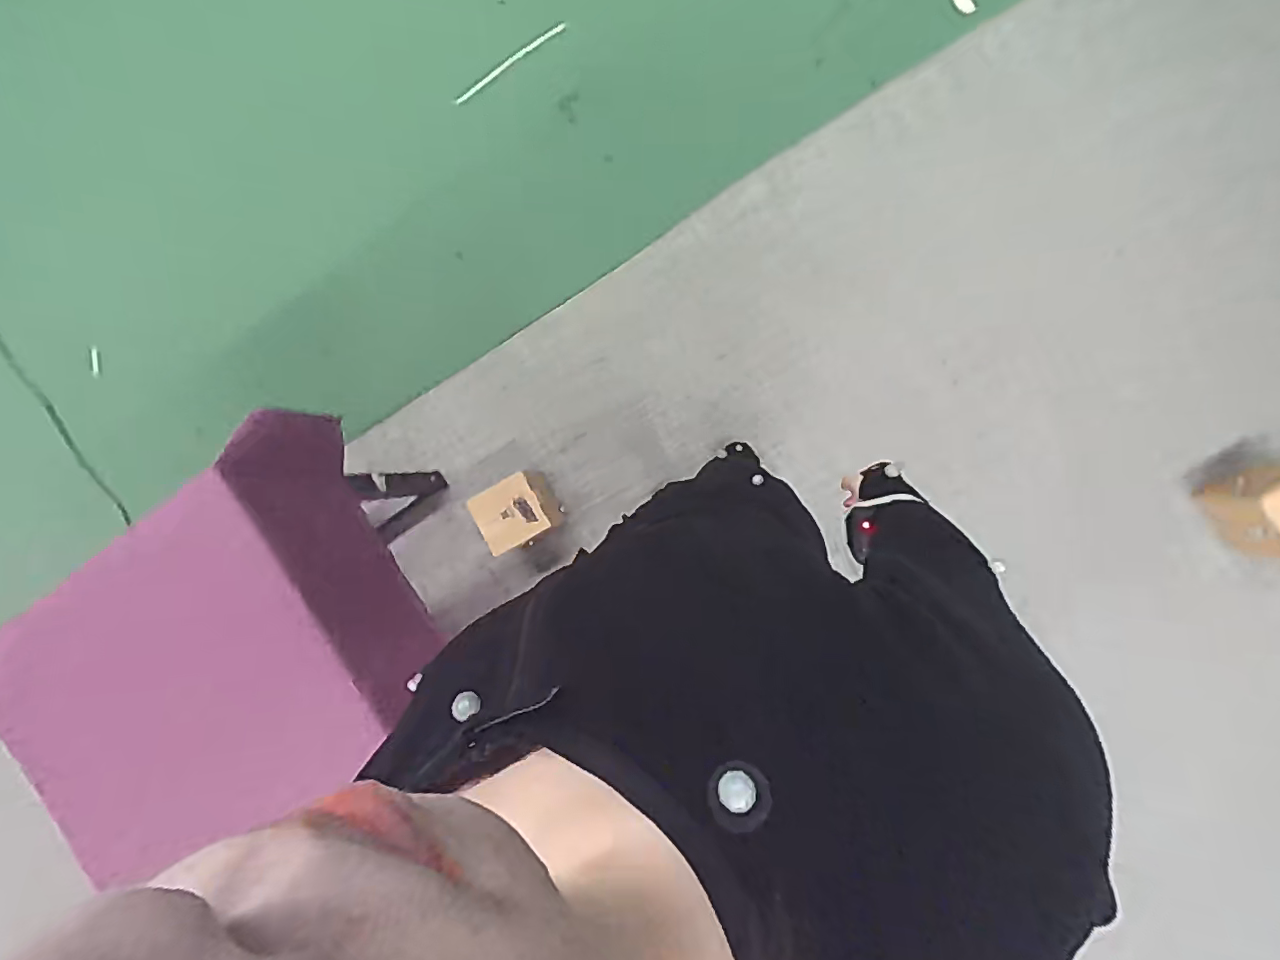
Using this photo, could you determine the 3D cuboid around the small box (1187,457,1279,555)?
[{"bbox_3d":[1.444,0.057,1.244,0.168,0.176,0.179,-35,88,8],"label":"small box"}]
